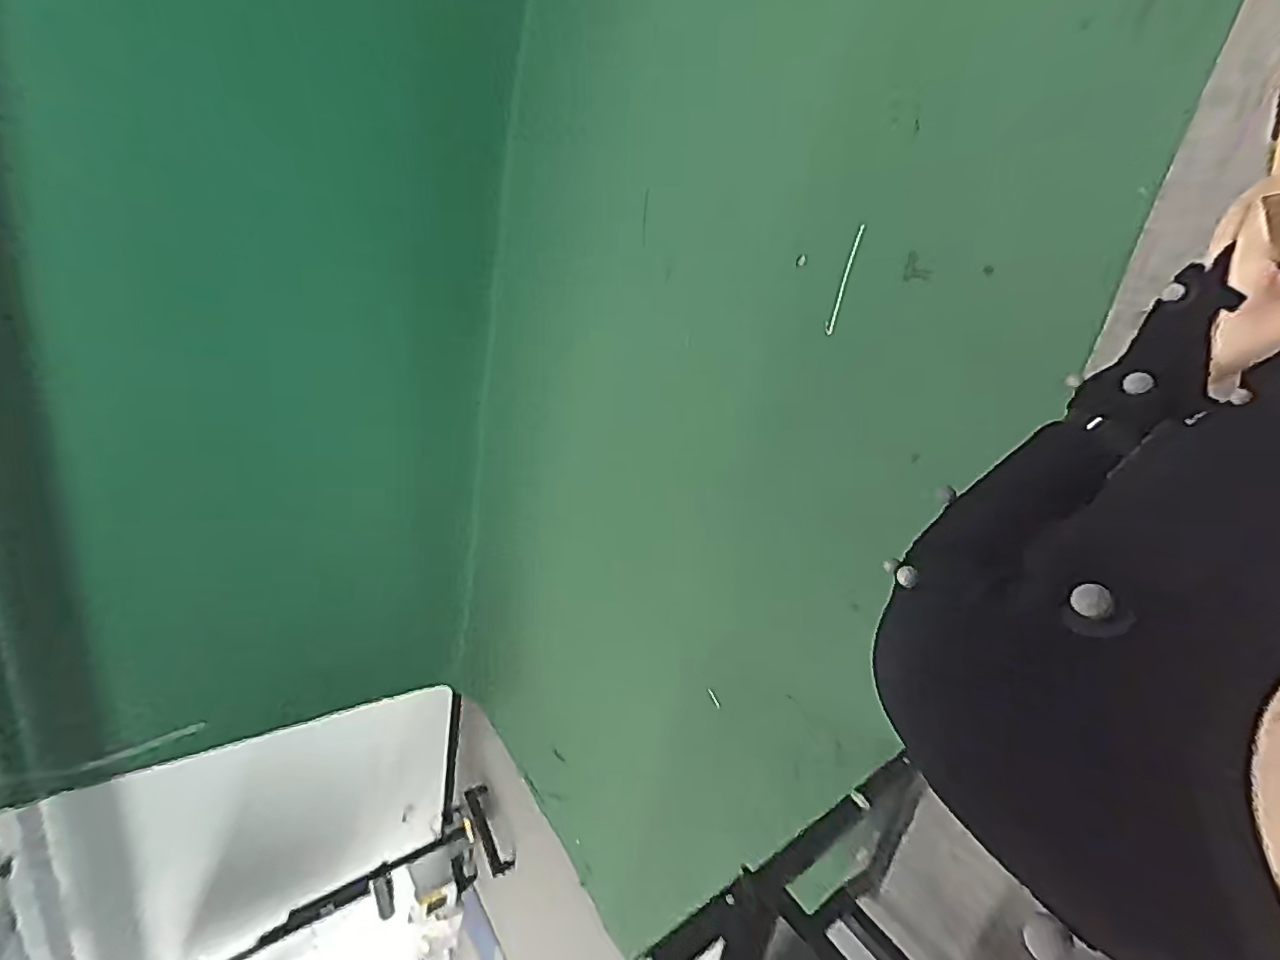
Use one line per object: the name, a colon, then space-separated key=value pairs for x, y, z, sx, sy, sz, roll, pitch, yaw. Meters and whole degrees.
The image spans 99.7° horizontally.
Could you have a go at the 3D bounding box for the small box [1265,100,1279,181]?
small box: x=0.450 y=-0.216 z=0.257 sx=0.179 sy=0.176 sz=0.168 roll=11 pitch=96 yaw=51
